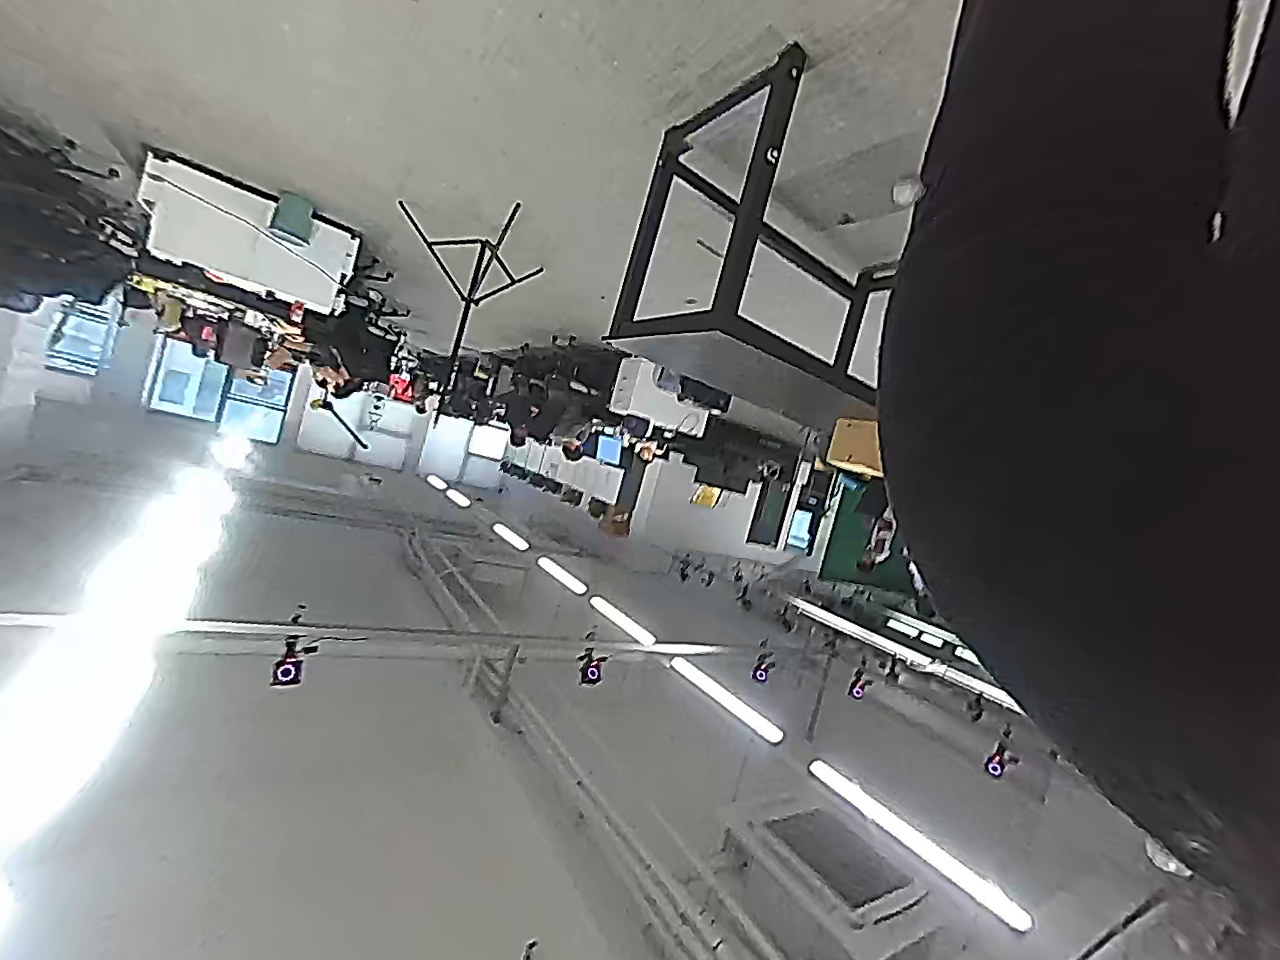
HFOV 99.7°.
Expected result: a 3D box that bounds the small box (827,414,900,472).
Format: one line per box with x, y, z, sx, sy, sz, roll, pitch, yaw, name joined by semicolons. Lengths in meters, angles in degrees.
0.840;-0.139;2.023;0.179;0.176;0.168;14;-178;-32;small box
